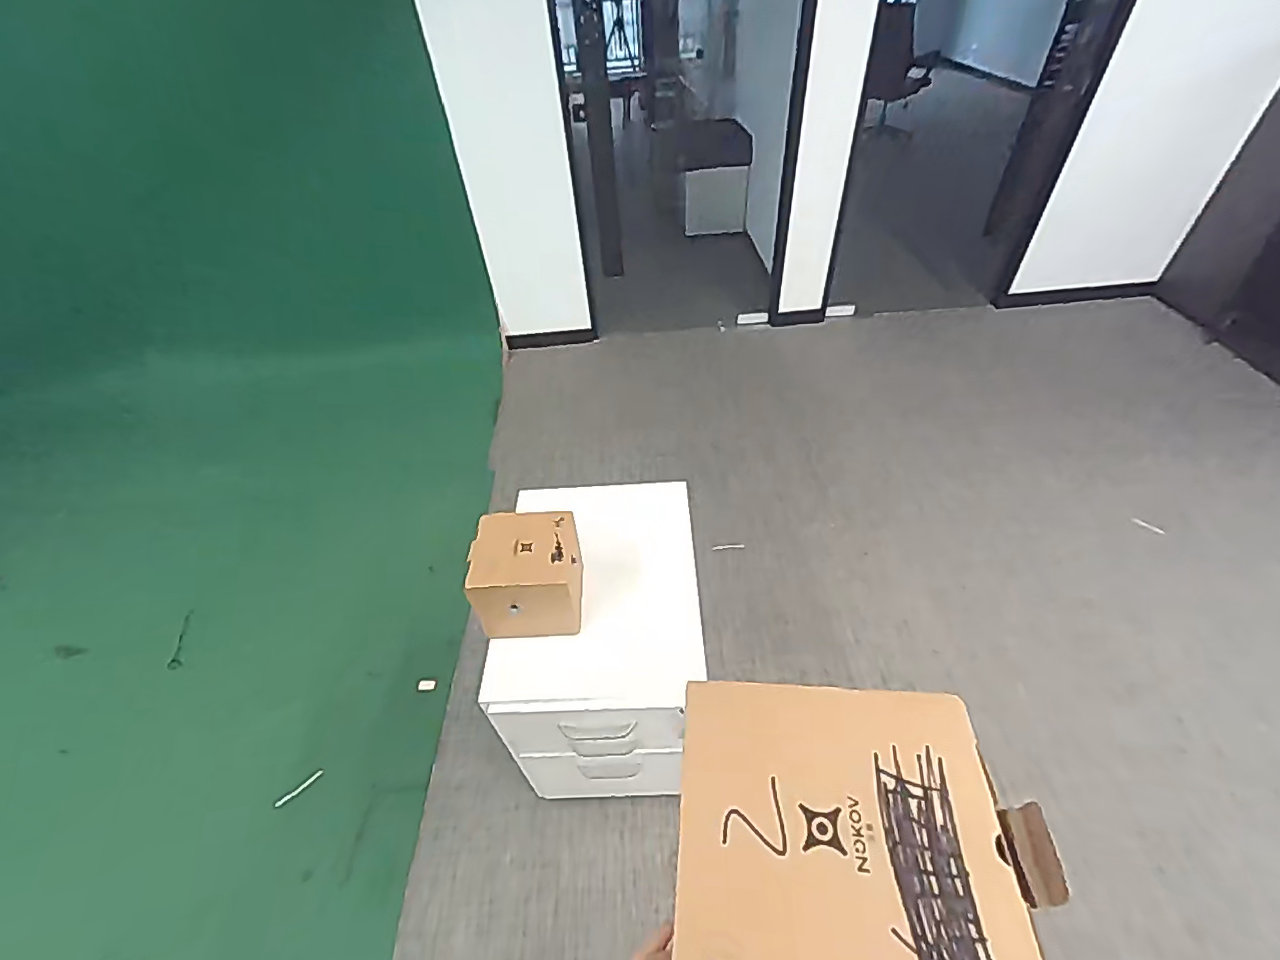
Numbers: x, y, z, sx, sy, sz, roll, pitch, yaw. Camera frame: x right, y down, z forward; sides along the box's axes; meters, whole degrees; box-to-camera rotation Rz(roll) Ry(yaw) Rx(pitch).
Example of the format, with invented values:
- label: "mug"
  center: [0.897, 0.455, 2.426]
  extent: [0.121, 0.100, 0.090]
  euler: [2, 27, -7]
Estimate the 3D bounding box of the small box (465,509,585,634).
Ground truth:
- label: "small box"
  center: [-0.203, 0.173, 1.010]
  extent: [0.179, 0.176, 0.168]
  euler: [-3, 45, 1]
